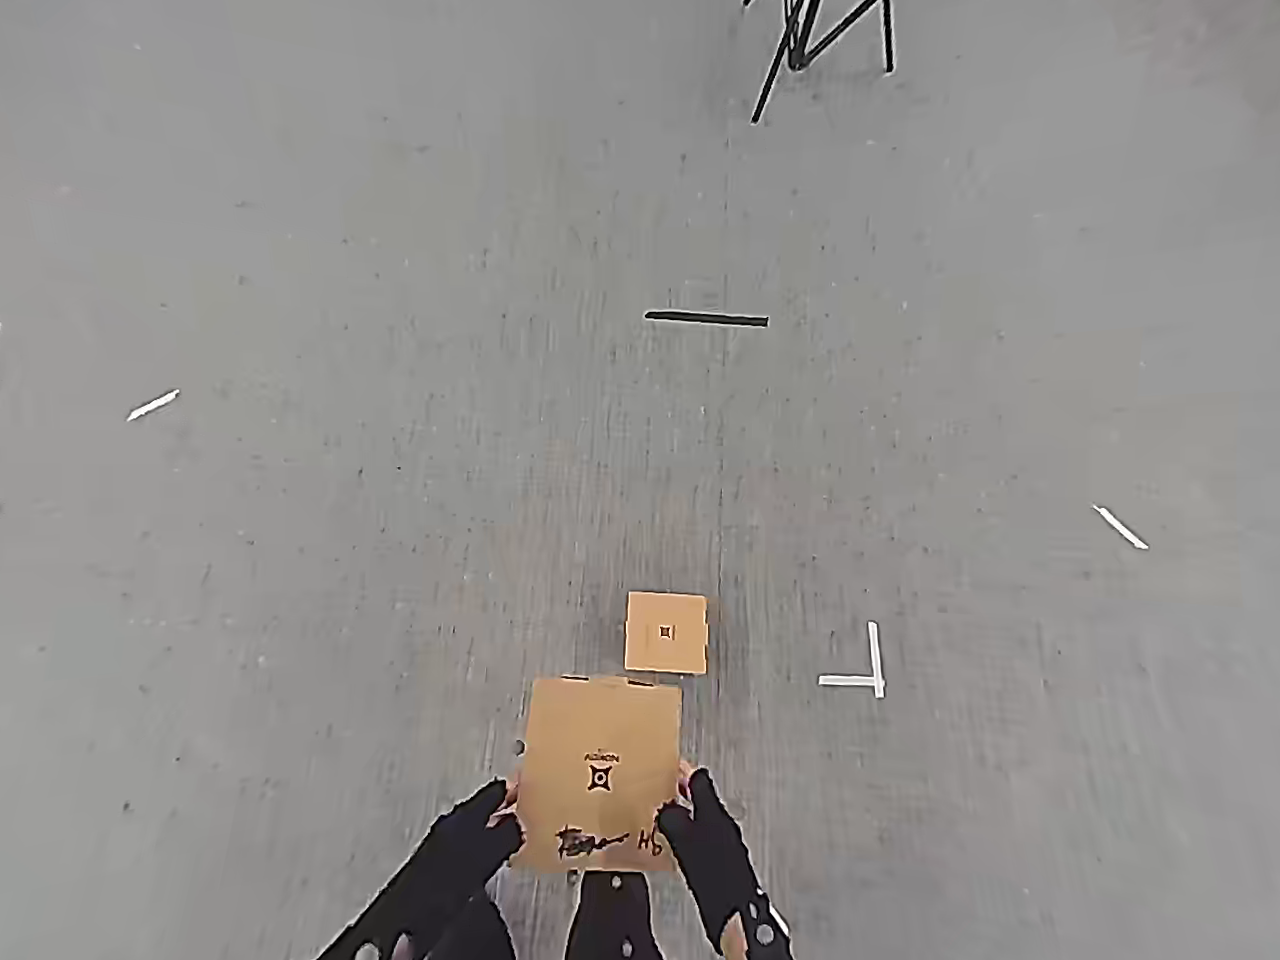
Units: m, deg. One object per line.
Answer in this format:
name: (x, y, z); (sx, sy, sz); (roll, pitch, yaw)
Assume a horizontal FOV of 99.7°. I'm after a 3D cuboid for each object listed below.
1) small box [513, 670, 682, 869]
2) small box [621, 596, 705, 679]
small box: (-0.053, 0.336, 0.633); (0.168, 0.176, 0.179); (9, 60, -8)
small box: (0.050, 0.363, 1.239); (0.179, 0.176, 0.168); (3, 70, -1)
